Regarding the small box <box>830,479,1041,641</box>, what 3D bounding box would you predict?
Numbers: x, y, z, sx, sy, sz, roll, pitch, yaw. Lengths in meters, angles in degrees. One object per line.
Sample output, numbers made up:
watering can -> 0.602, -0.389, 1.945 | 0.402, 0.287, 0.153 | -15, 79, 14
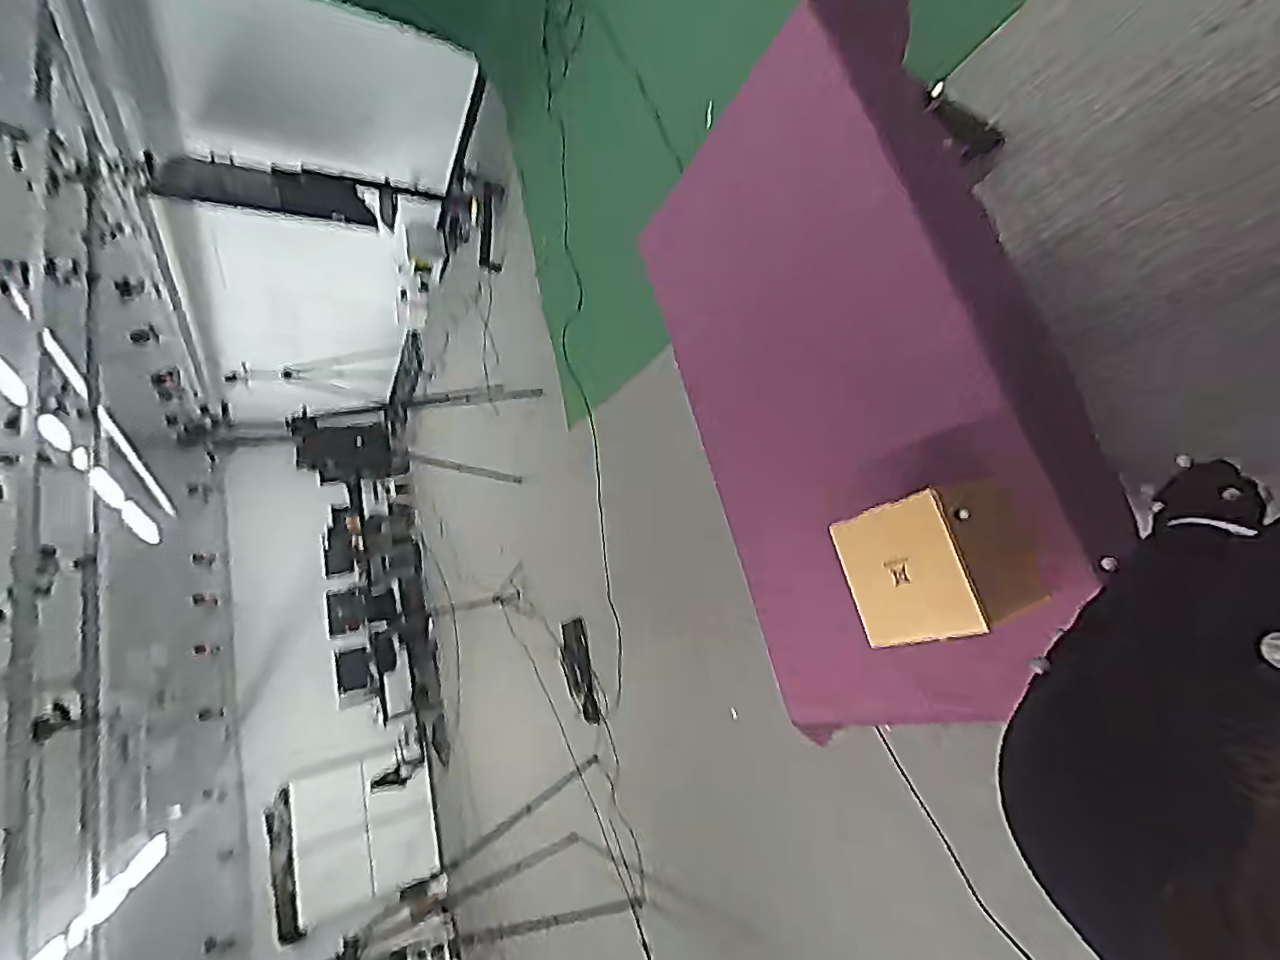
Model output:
small box -> 0.407, 0.109, 0.749 | 0.168, 0.176, 0.179 | -37, 64, 53
